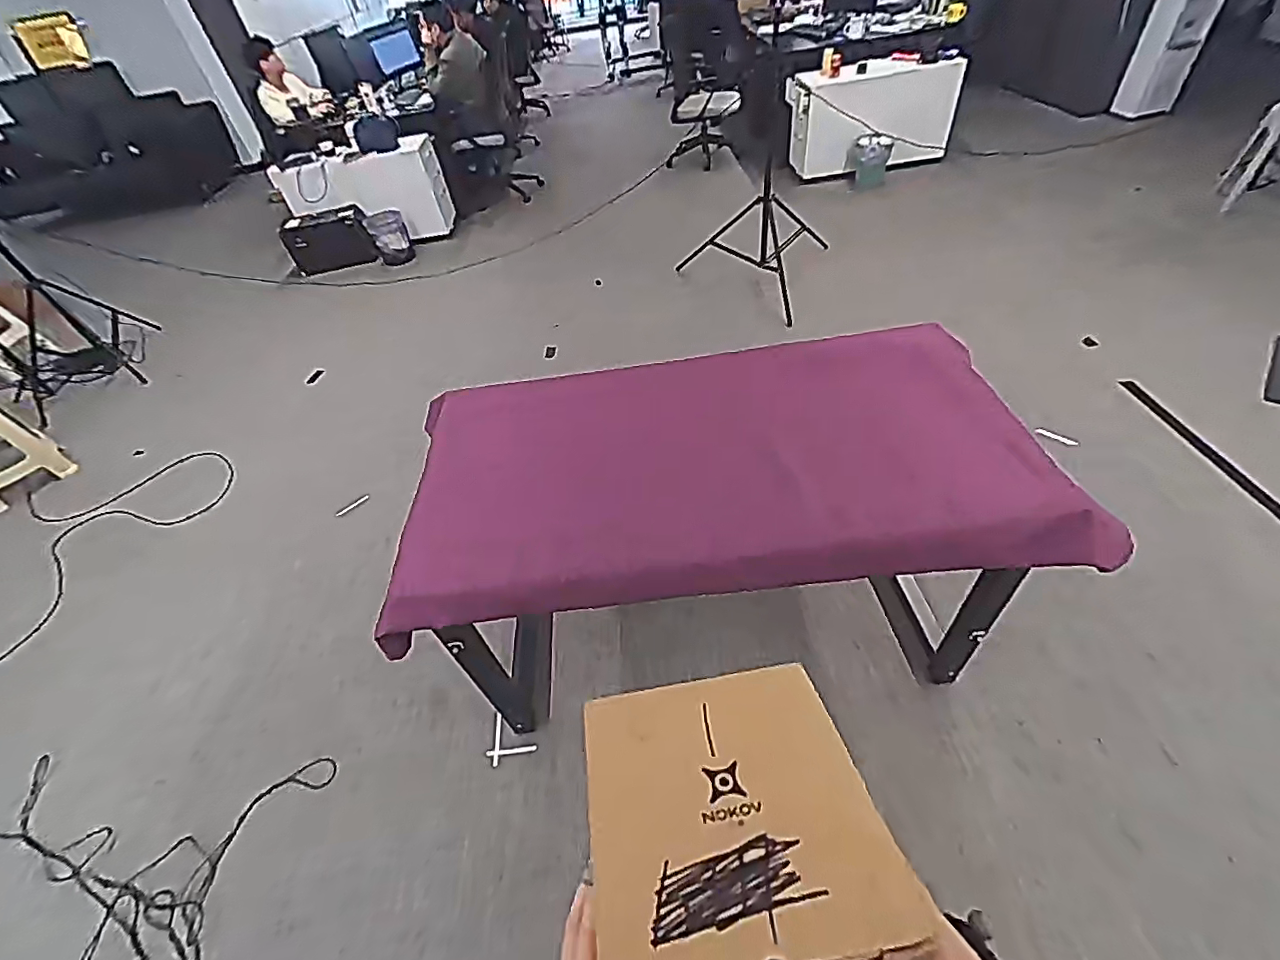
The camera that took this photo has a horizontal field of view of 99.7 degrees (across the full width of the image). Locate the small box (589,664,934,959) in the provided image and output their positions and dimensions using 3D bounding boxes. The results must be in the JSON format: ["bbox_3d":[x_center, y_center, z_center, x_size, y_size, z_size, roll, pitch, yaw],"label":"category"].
[{"bbox_3d":[0.061,0.261,0.365,0.168,0.176,0.179,-9,28,-4],"label":"small box"}]
